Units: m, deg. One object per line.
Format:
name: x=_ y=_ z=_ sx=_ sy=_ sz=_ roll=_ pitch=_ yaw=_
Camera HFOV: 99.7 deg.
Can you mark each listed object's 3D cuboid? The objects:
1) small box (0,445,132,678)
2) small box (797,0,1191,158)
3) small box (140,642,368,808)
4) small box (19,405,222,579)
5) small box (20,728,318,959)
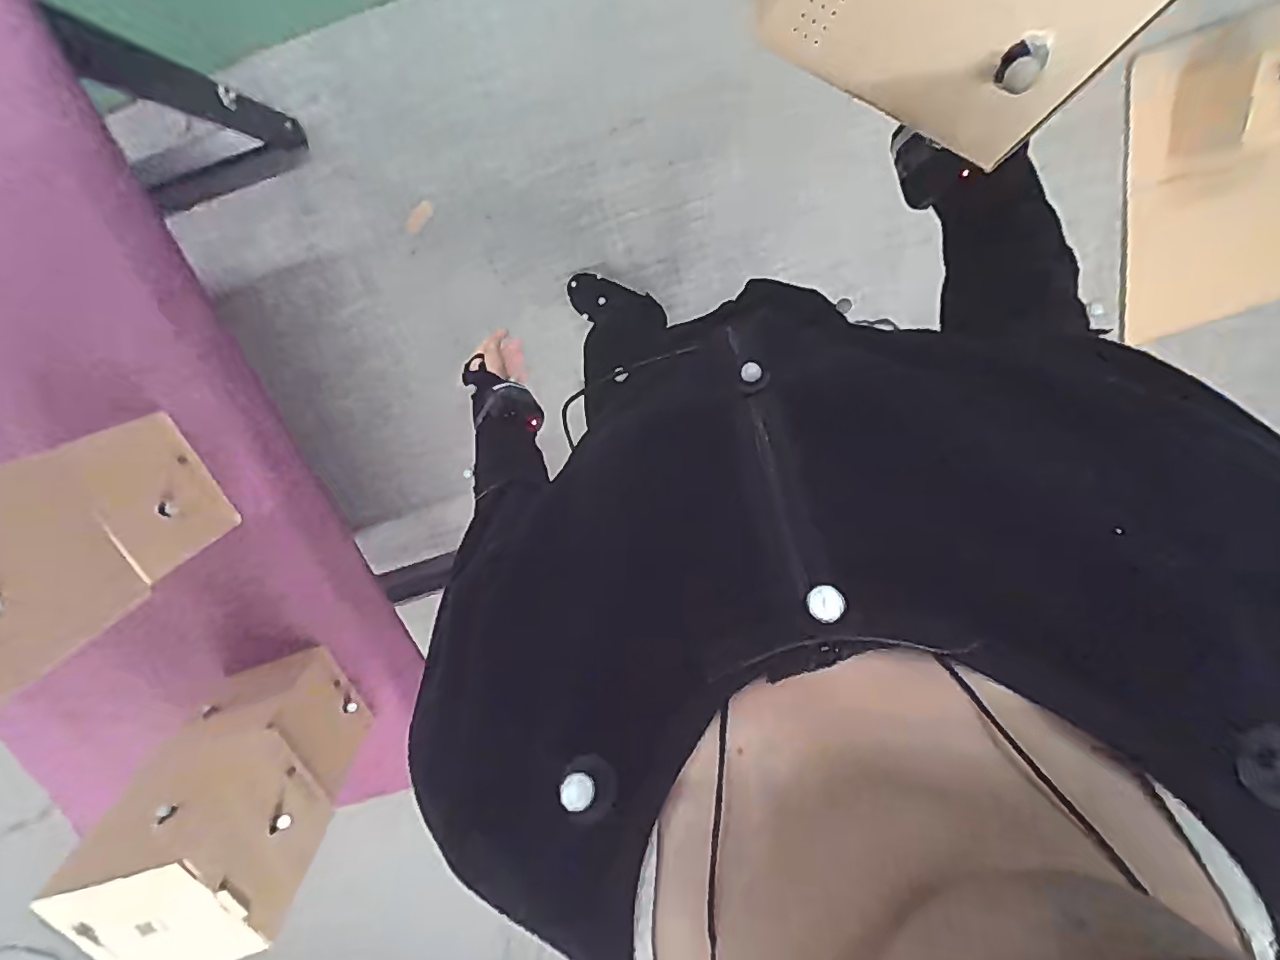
small box: x=-0.640 y=0.090 z=0.491 sx=0.168 sy=0.176 sz=0.179 roll=-15 pitch=112 yaw=3
small box: x=0.180 y=-0.310 z=0.255 sx=0.176 sy=0.168 sz=0.179 roll=13 pitch=153 yaw=-19
small box: x=-0.540 y=0.370 z=0.789 sx=0.179 sy=0.176 sz=0.168 roll=-19 pitch=113 yaw=3
small box: x=-0.652 y=0.027 z=0.642 sx=0.179 sy=0.176 sz=0.168 roll=-18 pitch=113 yaw=5
small box: x=-0.519 y=0.428 z=0.637 sx=0.179 sy=0.176 sz=0.168 roll=-17 pitch=112 yaw=2
